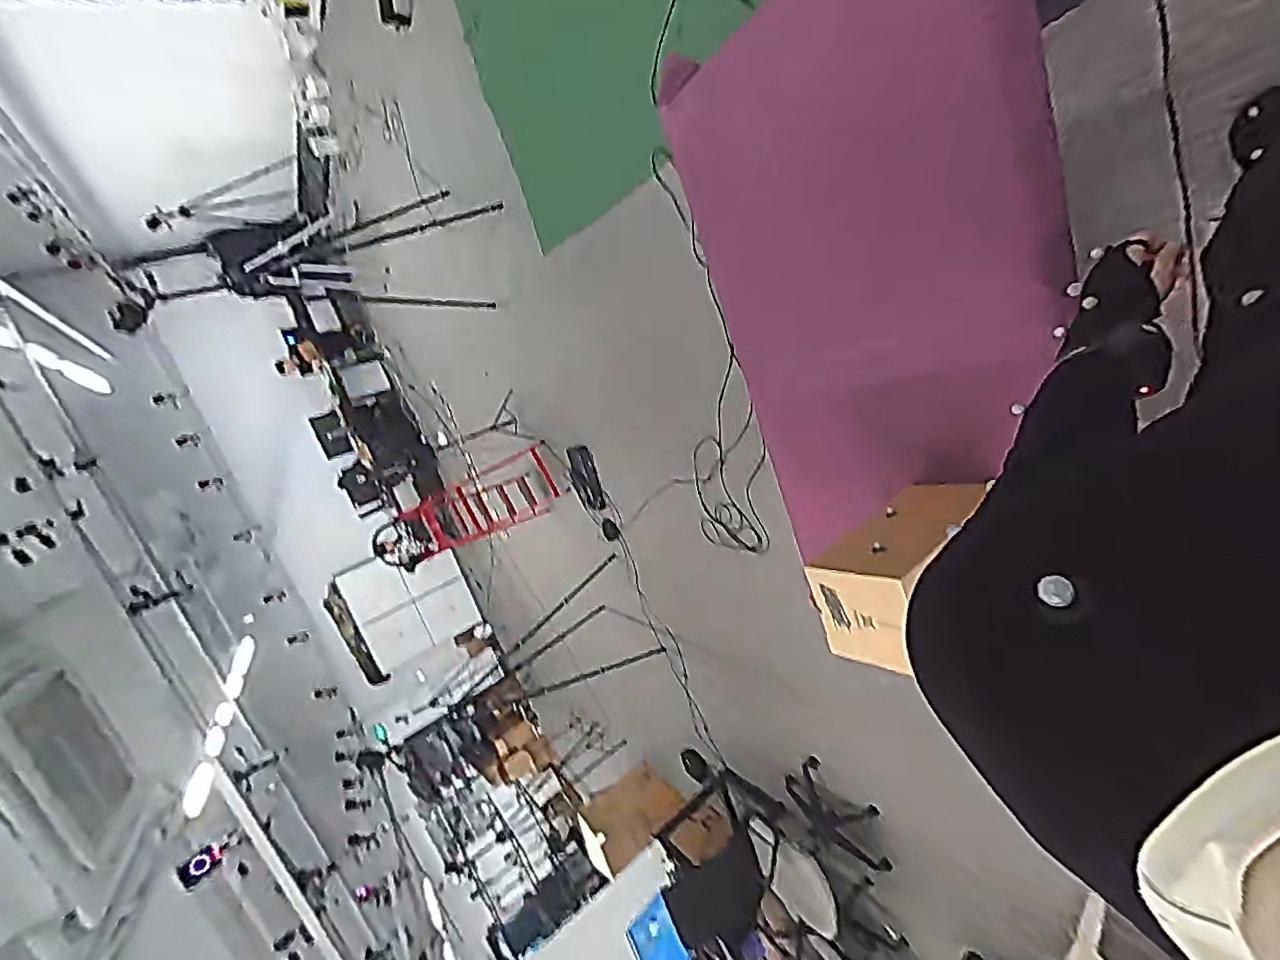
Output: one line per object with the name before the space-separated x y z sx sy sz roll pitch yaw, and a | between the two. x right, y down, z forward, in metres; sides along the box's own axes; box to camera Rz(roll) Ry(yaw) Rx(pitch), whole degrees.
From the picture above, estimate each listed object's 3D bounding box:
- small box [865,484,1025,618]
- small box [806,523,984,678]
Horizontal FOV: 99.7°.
small box | 0.534 0.113 0.938 0.179 0.176 0.168 -4 110 59
small box | 0.404 0.177 0.860 0.179 0.176 0.168 -4 110 58
